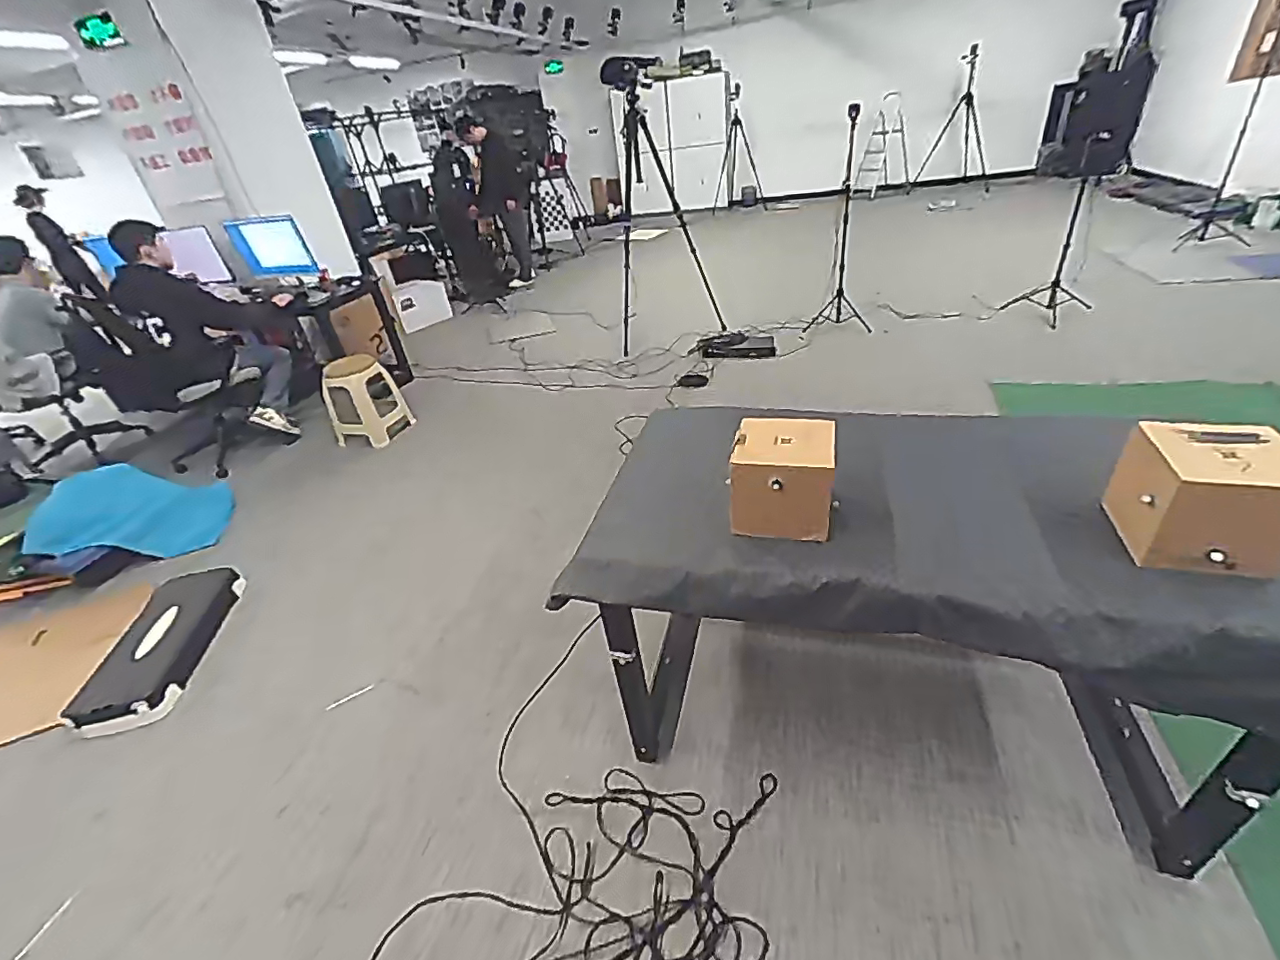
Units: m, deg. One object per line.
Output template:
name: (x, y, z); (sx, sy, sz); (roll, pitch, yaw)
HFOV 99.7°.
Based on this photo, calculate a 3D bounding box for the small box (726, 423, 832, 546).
small box: (0.263, 0.006, 1.017); (0.179, 0.176, 0.168); (5, 36, 17)
